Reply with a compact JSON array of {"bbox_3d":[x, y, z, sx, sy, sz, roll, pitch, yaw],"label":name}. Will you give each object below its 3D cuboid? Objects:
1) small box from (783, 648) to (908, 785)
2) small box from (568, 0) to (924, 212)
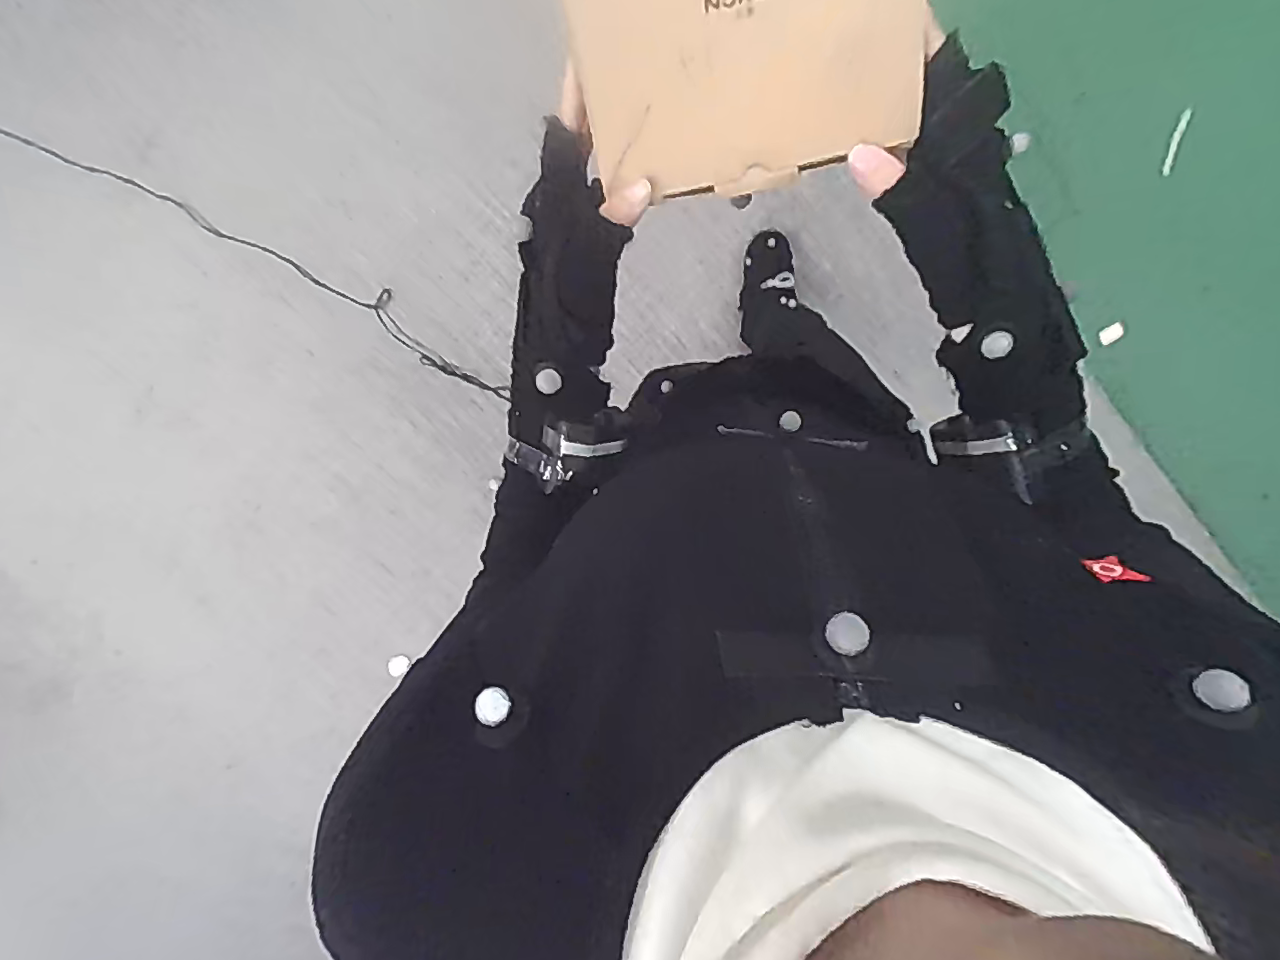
[{"bbox_3d":[0.427,0.498,1.162,0.168,0.176,0.179,44,109,-6],"label":"small box"},{"bbox_3d":[0.052,-0.275,0.318,0.168,0.176,0.179,-8,119,9],"label":"small box"}]
